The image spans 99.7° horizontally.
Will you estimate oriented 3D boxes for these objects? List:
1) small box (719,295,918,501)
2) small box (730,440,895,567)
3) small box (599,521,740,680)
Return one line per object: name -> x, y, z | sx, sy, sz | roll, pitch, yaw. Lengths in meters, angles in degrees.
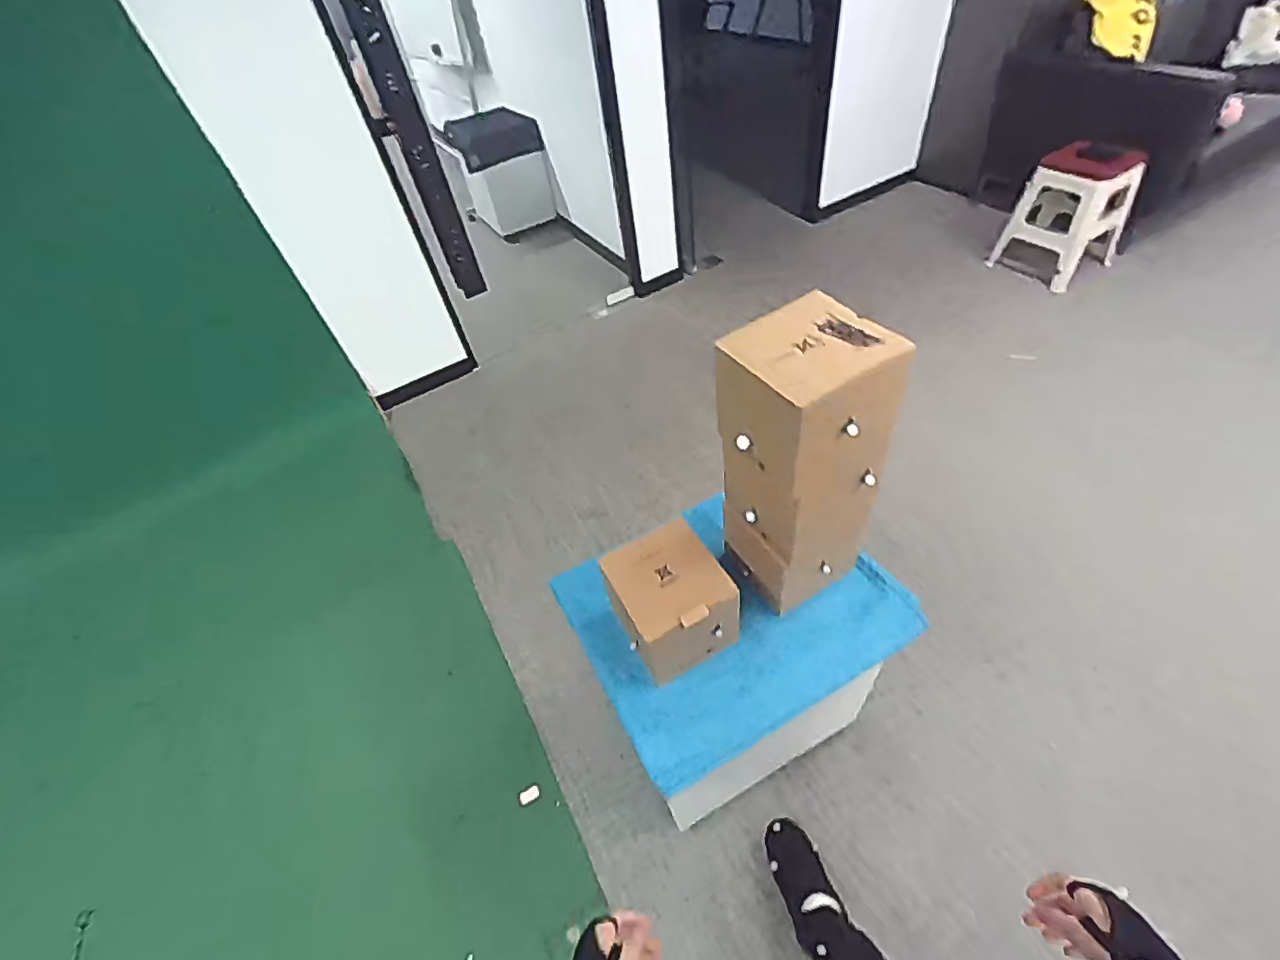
small box -> 0.219, -0.107, 0.708 | 0.179, 0.176, 0.168 | -28, 49, -13
small box -> 0.250, -0.002, 0.831 | 0.179, 0.176, 0.168 | -28, 49, -15
small box -> 0.051, 0.207, 0.902 | 0.168, 0.176, 0.179 | -24, 48, -14
